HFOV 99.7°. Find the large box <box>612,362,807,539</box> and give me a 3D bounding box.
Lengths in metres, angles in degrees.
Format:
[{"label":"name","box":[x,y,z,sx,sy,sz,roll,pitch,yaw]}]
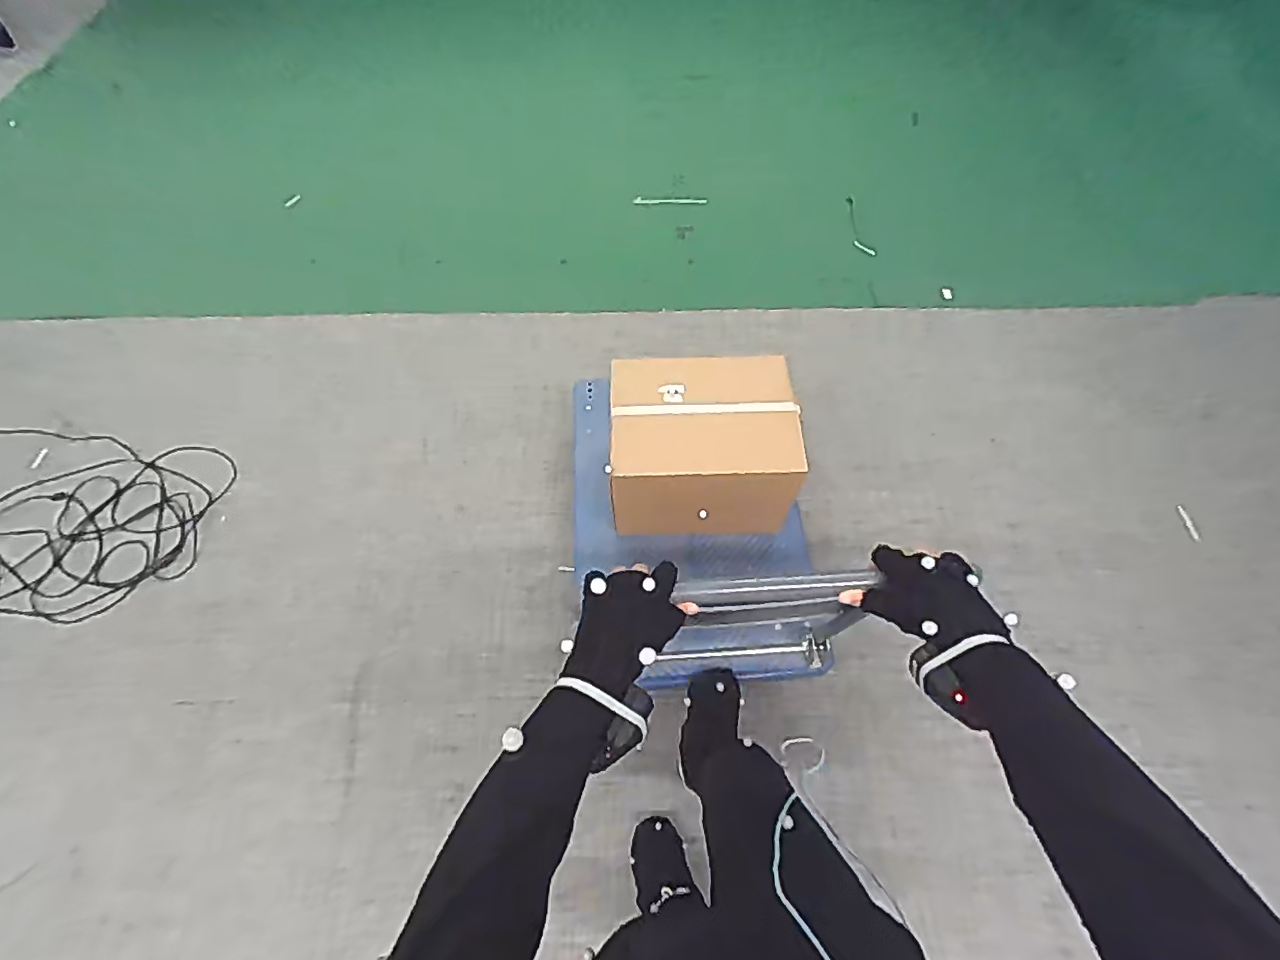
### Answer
[{"label":"large box","box":[0.142,-0.060,1.297,0.408,0.320,0.320,-2,60,0]}]
